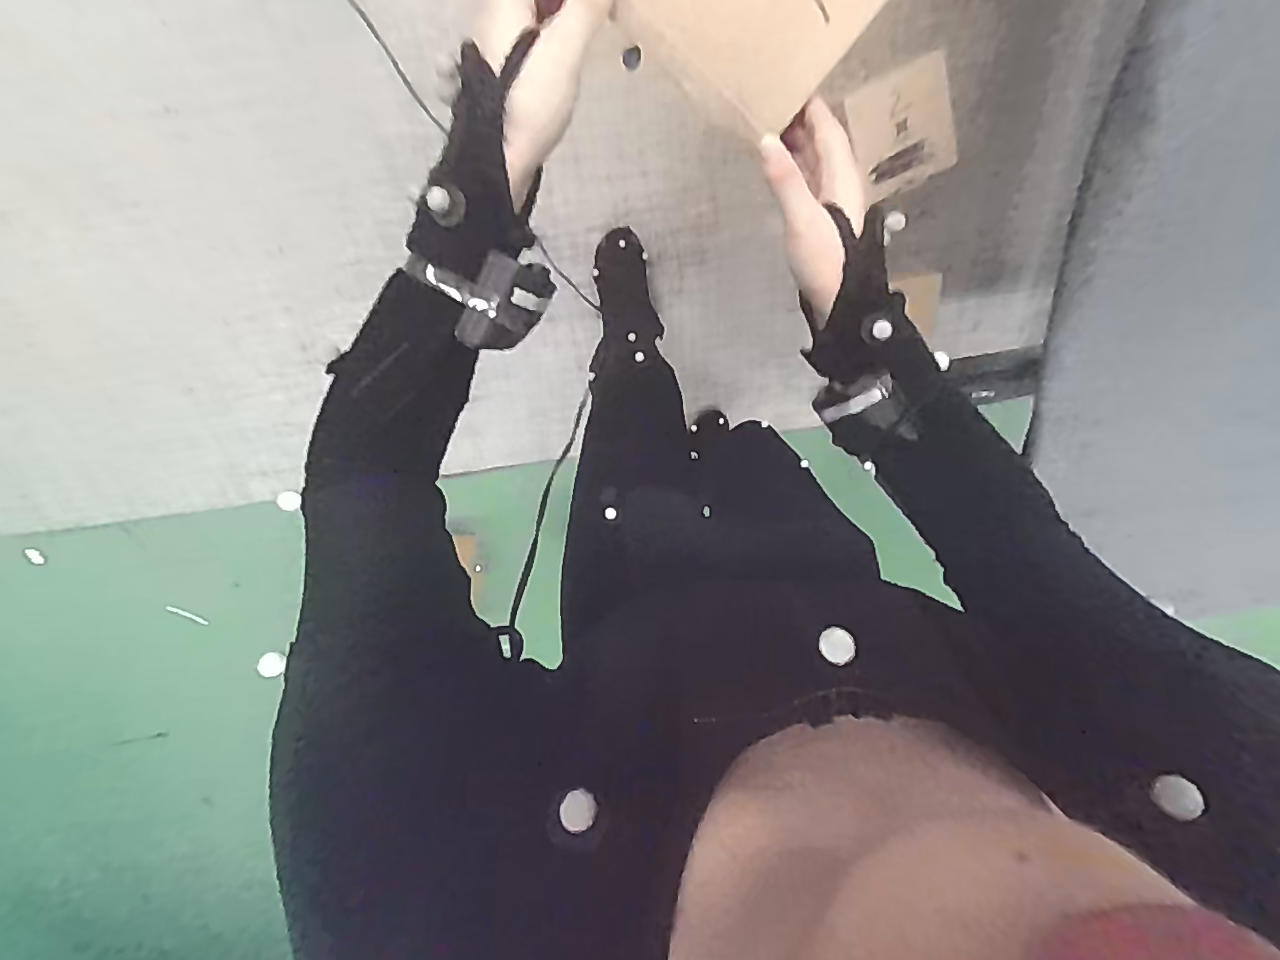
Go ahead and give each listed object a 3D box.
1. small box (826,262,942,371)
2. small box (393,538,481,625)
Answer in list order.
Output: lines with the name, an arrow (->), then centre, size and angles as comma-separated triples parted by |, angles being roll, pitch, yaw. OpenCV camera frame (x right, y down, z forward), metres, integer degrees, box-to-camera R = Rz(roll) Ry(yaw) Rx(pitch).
small box -> 0.501, -0.351, 1.137 | 0.168, 0.176, 0.179 | -9, 122, 2
small box -> -0.529, 0.267, 1.439 | 0.179, 0.176, 0.168 | 1, 120, -3
